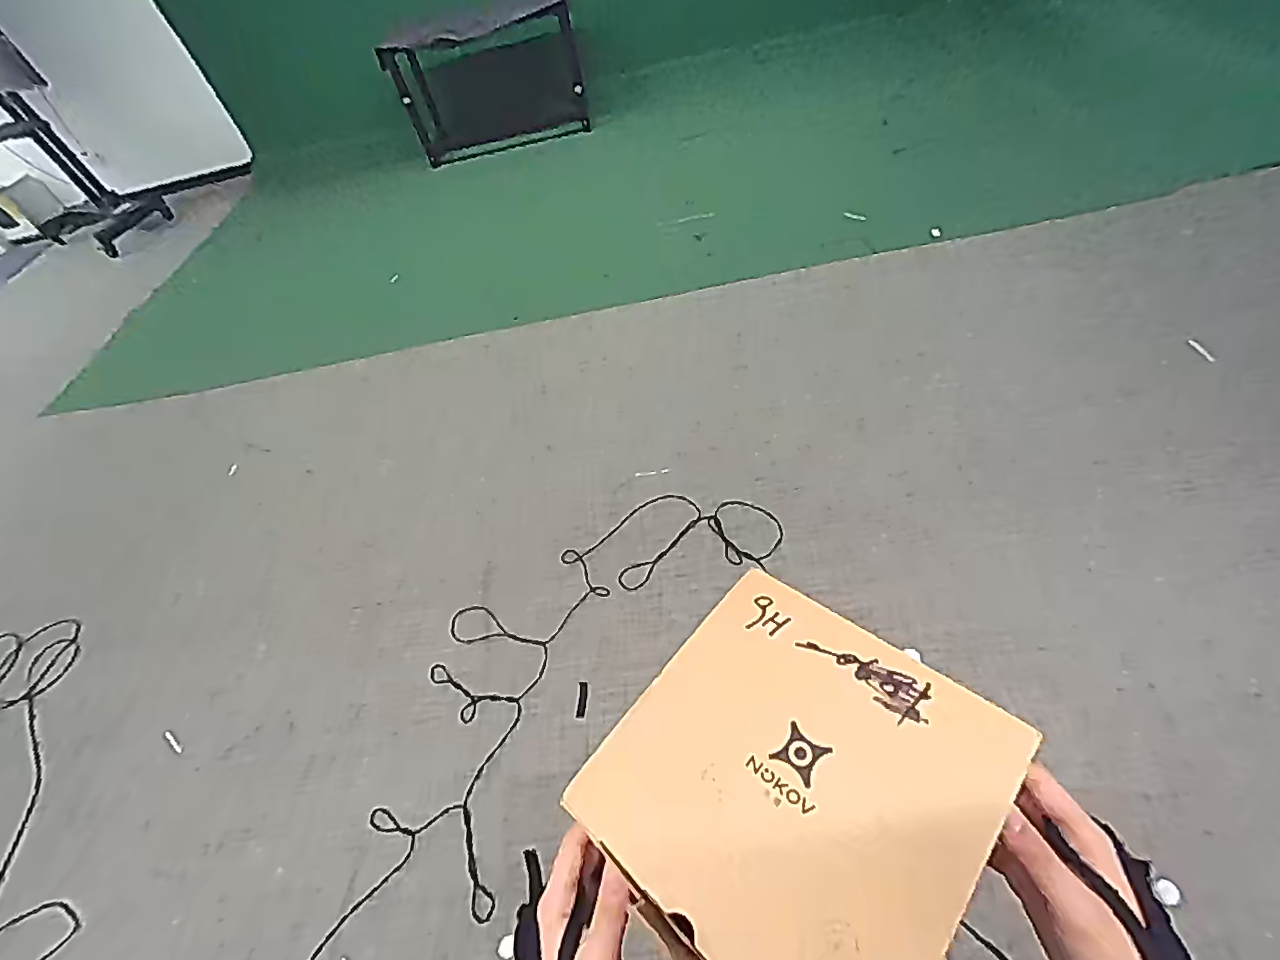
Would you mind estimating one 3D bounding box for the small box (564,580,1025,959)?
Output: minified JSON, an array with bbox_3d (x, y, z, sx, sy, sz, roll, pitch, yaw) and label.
[{"bbox_3d":[0.090,0.203,0.329,0.168,0.176,0.179,28,62,35],"label":"small box"}]
